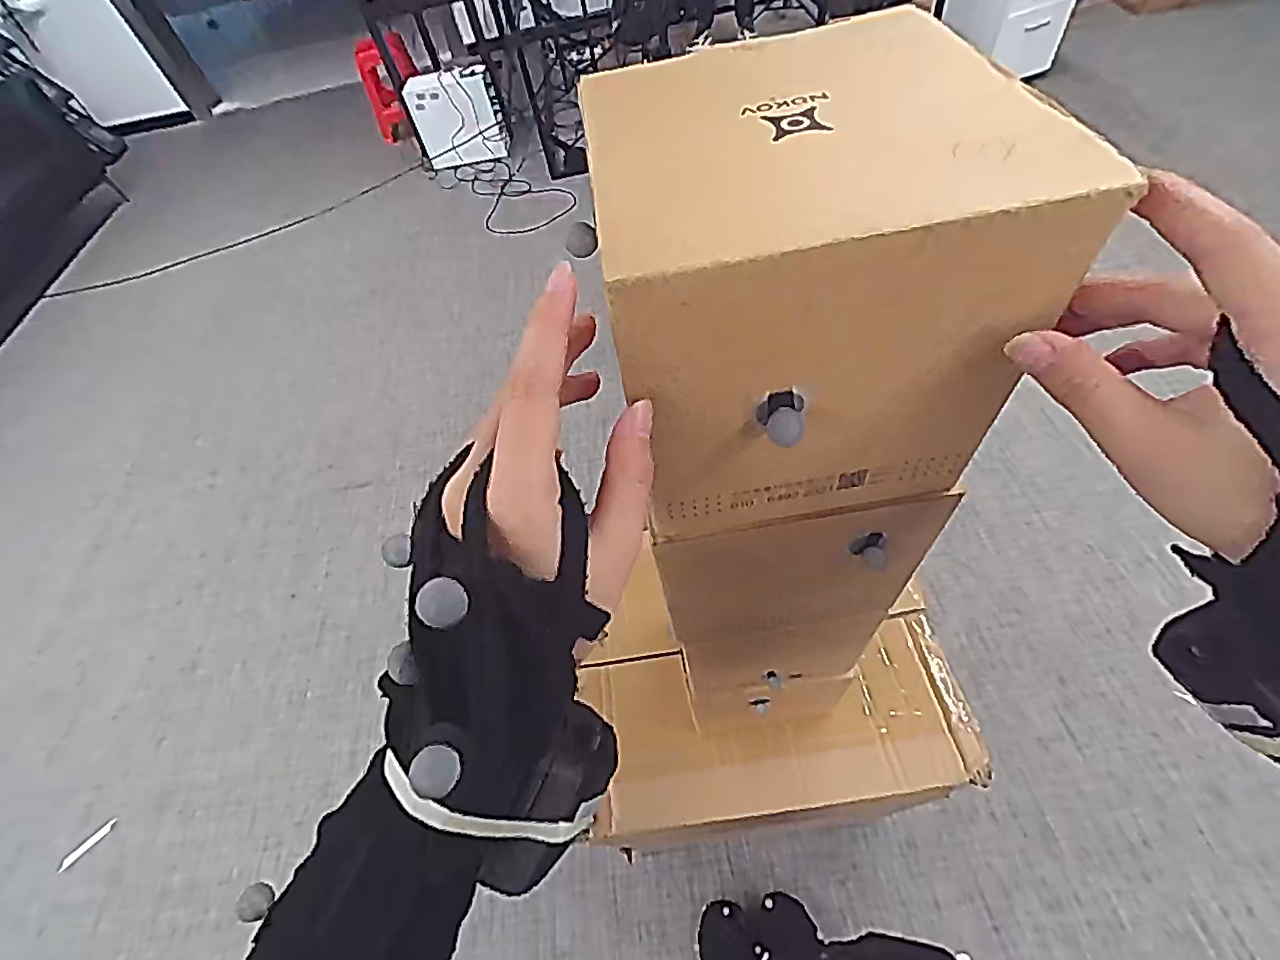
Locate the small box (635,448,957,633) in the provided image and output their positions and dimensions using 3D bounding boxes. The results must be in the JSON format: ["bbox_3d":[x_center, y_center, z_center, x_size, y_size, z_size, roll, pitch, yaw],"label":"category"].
[{"bbox_3d":[0.091,0.001,0.409,0.179,0.176,0.168,-10,54,3],"label":"small box"}]

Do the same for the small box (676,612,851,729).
[{"bbox_3d":[0.137,0.196,0.669,0.179,0.176,0.168,-10,54,3],"label":"small box"}]

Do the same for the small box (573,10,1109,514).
[{"bbox_3d":[0.067,-0.097,0.281,0.168,0.176,0.179,-10,54,3],"label":"small box"}]
